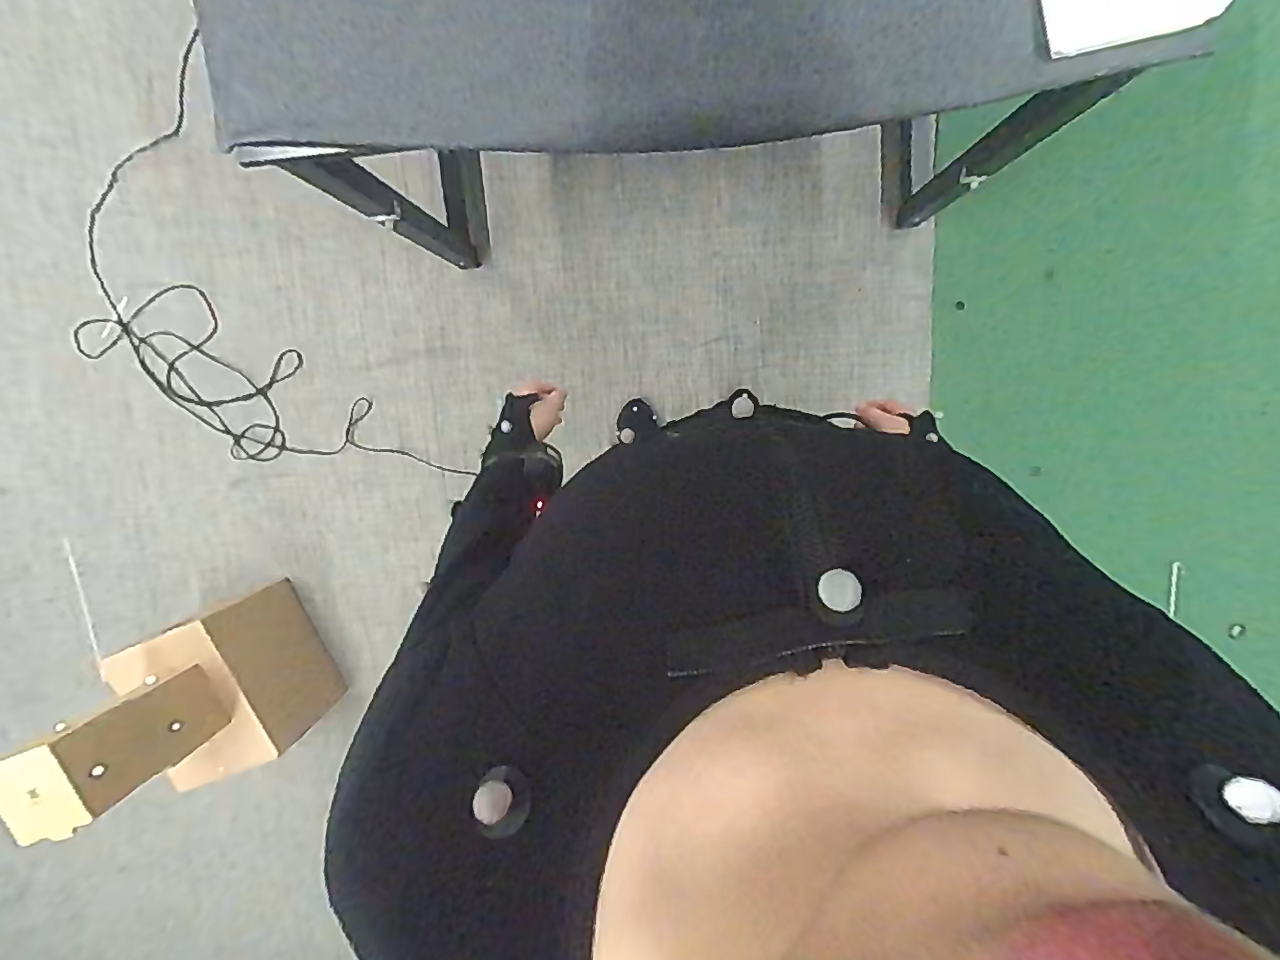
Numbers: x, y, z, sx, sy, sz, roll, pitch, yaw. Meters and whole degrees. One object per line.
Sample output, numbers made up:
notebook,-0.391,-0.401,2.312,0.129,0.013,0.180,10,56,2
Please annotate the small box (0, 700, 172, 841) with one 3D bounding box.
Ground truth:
small box,-1.131,0.580,1.107,0.168,0.176,0.179,-21,98,5

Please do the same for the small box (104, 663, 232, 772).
small box,-1.119,0.566,1.269,0.168,0.176,0.179,-22,97,6
